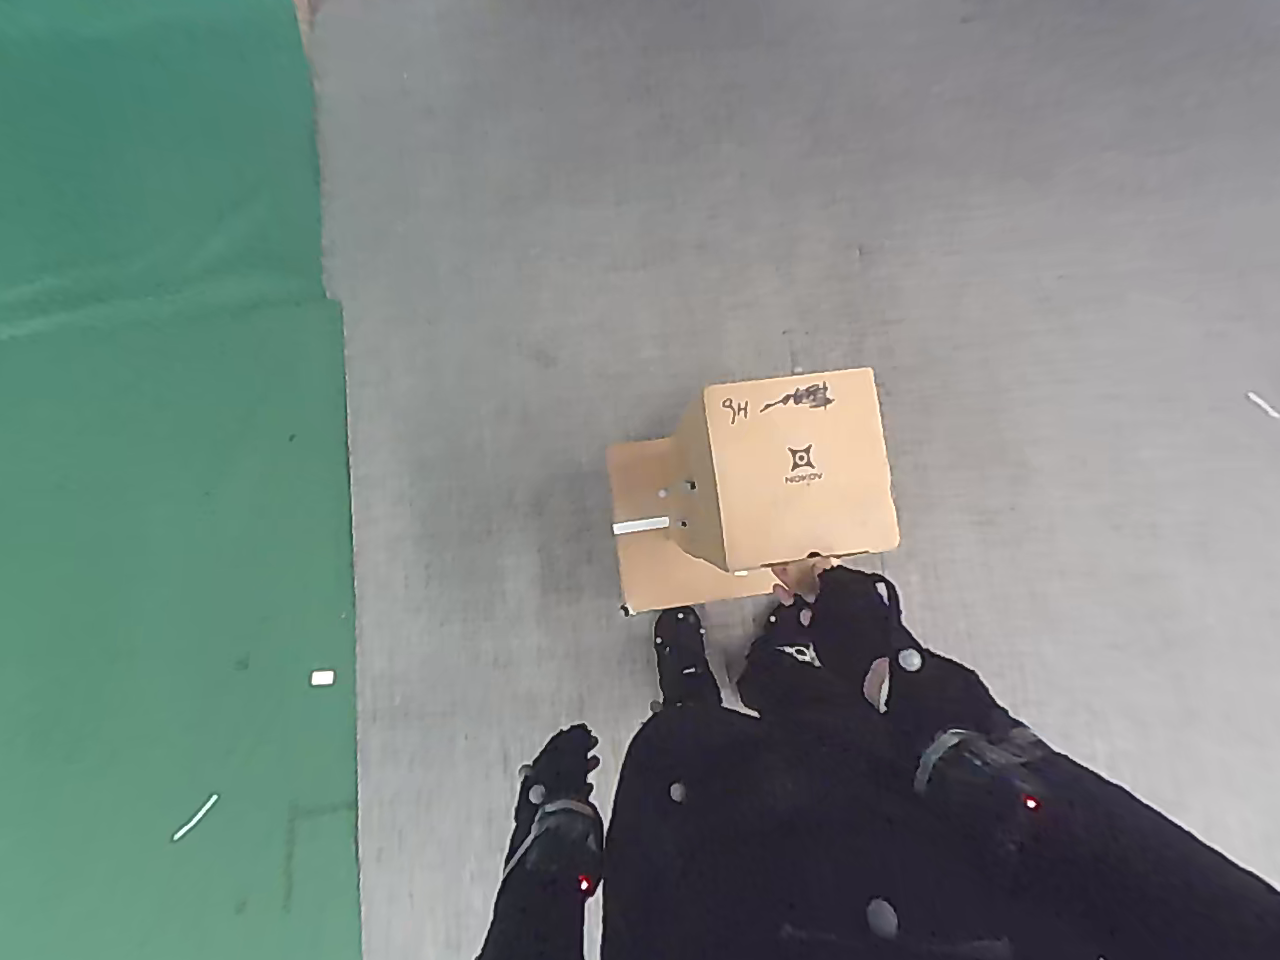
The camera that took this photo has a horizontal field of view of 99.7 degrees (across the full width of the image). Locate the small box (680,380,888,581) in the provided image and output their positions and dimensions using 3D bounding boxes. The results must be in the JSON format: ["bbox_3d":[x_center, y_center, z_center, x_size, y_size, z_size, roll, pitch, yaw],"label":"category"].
[{"bbox_3d":[0.142,0.002,0.590,0.168,0.176,0.179,-8,88,-3],"label":"small box"}]

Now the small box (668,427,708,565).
[{"bbox_3d":[0.135,0.015,0.753,0.168,0.176,0.179,-7,86,-3],"label":"small box"}]
